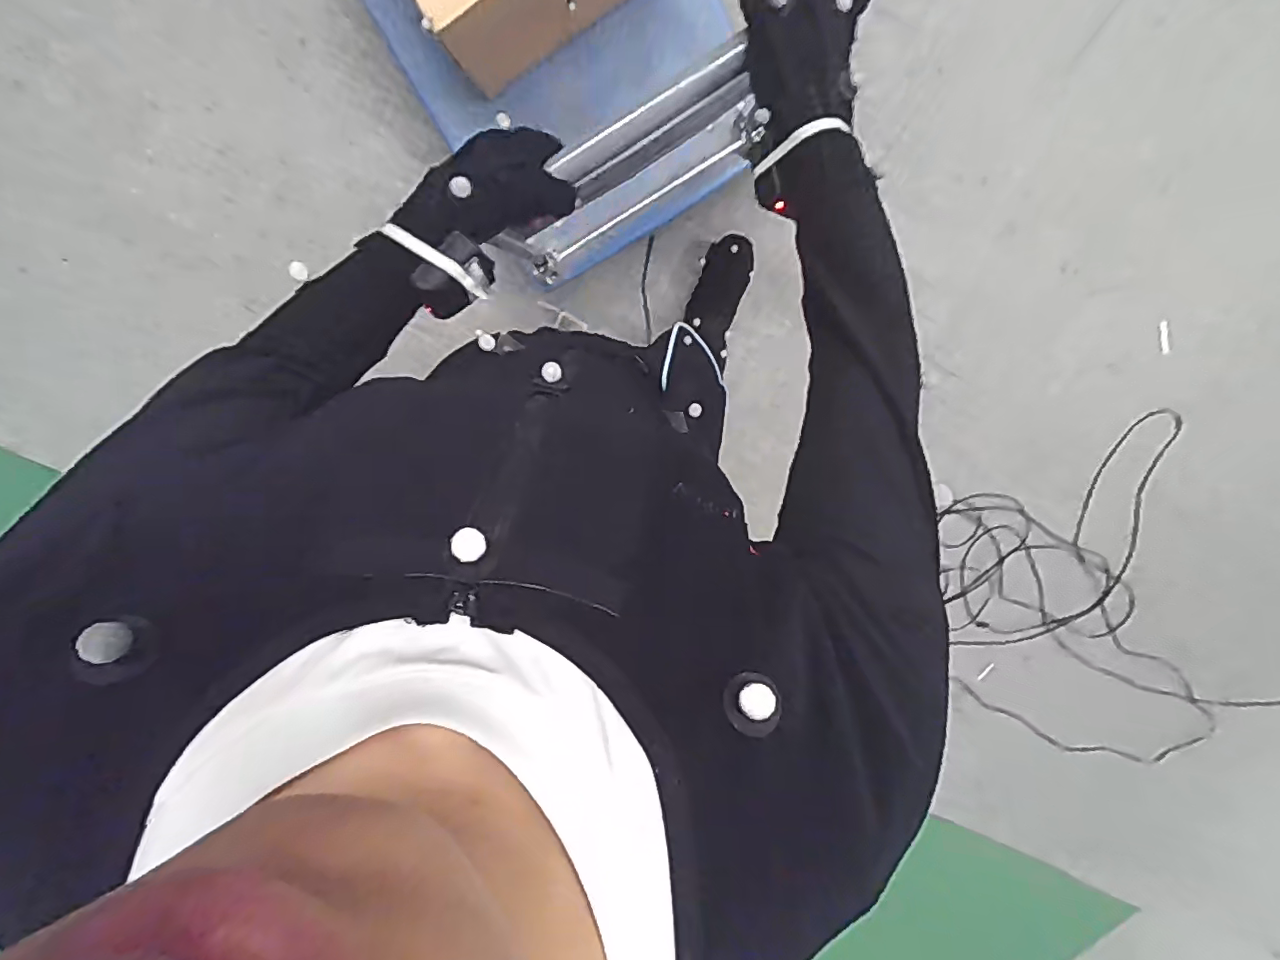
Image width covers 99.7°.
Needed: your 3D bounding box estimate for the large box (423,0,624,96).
[{"bbox_3d":[-0.186,-0.902,0.828,0.408,0.320,0.320,-30,108,10],"label":"large box"}]
